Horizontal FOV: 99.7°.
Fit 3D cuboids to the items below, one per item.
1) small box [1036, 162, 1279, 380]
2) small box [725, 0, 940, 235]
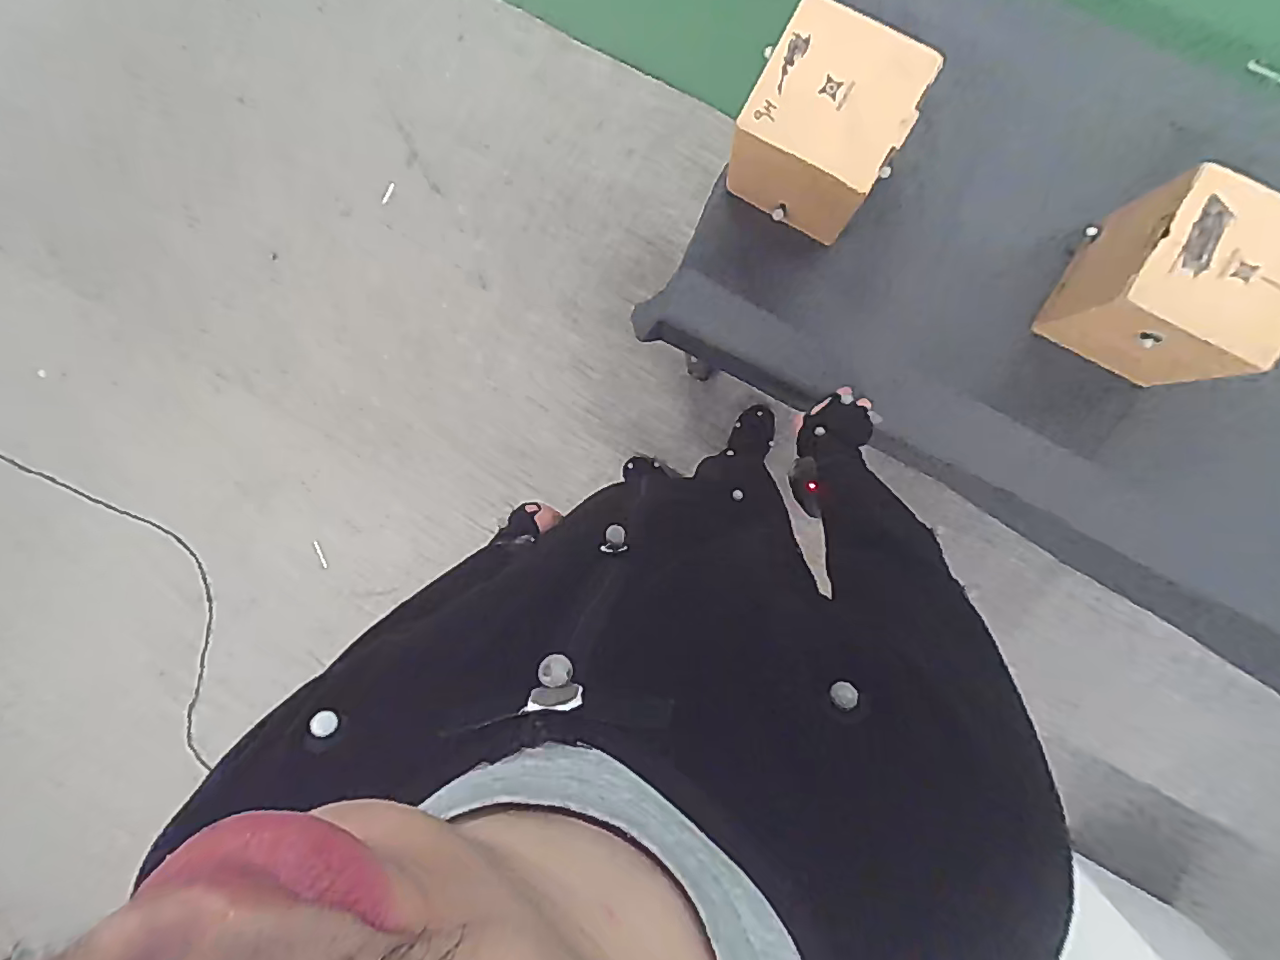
[{"bbox_3d":[0.643,-0.234,0.658,0.179,0.176,0.168,29,97,2],"label":"small box"},{"bbox_3d":[0.225,-0.440,0.685,0.179,0.176,0.168,30,97,2],"label":"small box"}]
